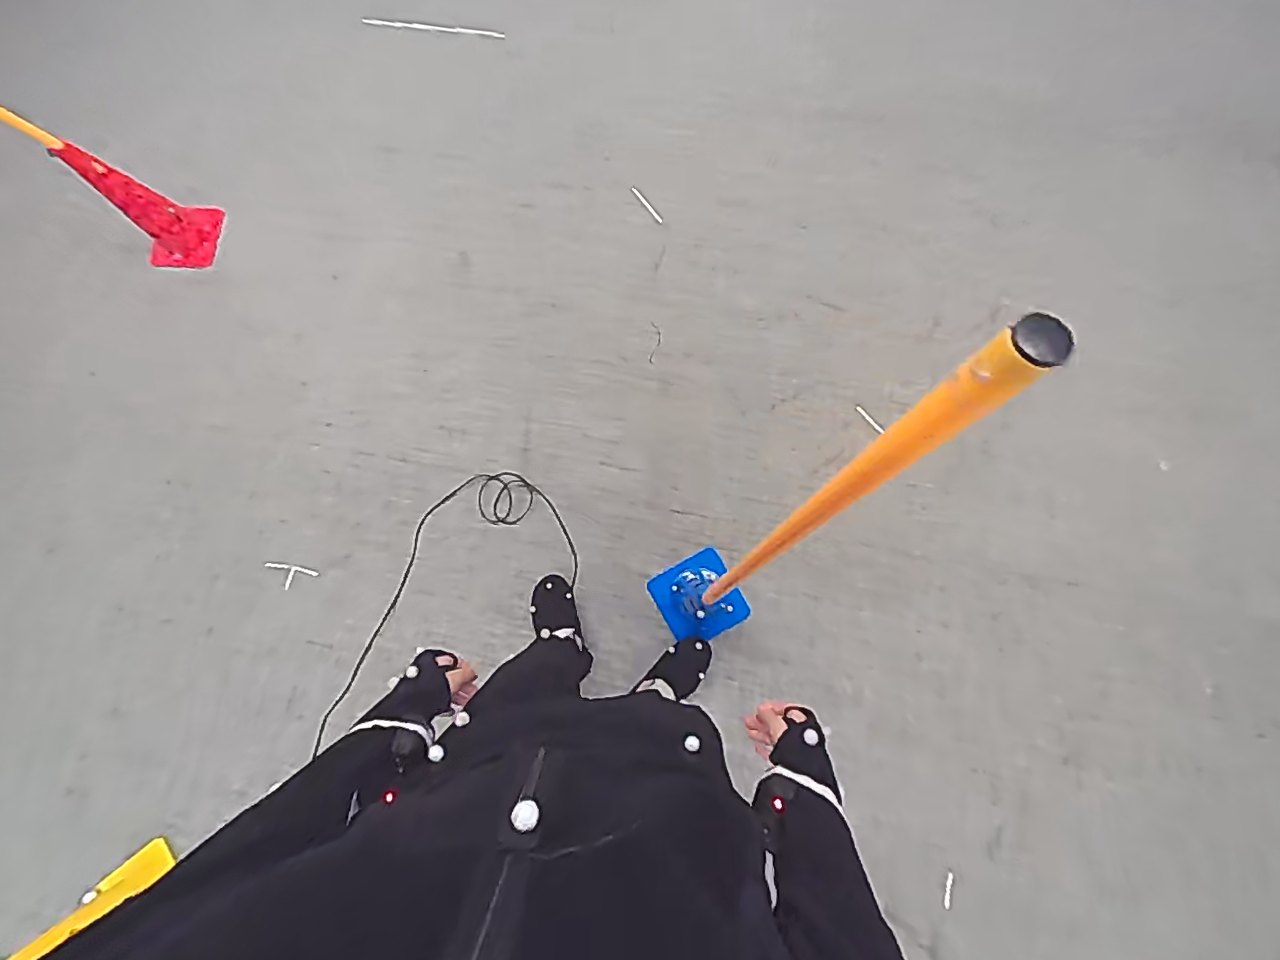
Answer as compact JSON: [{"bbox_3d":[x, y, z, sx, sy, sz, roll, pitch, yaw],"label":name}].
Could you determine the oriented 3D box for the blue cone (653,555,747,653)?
[{"bbox_3d":[0.140,0.261,1.161,0.193,0.380,0.192,-30,78,-5],"label":"blue cone"}]
